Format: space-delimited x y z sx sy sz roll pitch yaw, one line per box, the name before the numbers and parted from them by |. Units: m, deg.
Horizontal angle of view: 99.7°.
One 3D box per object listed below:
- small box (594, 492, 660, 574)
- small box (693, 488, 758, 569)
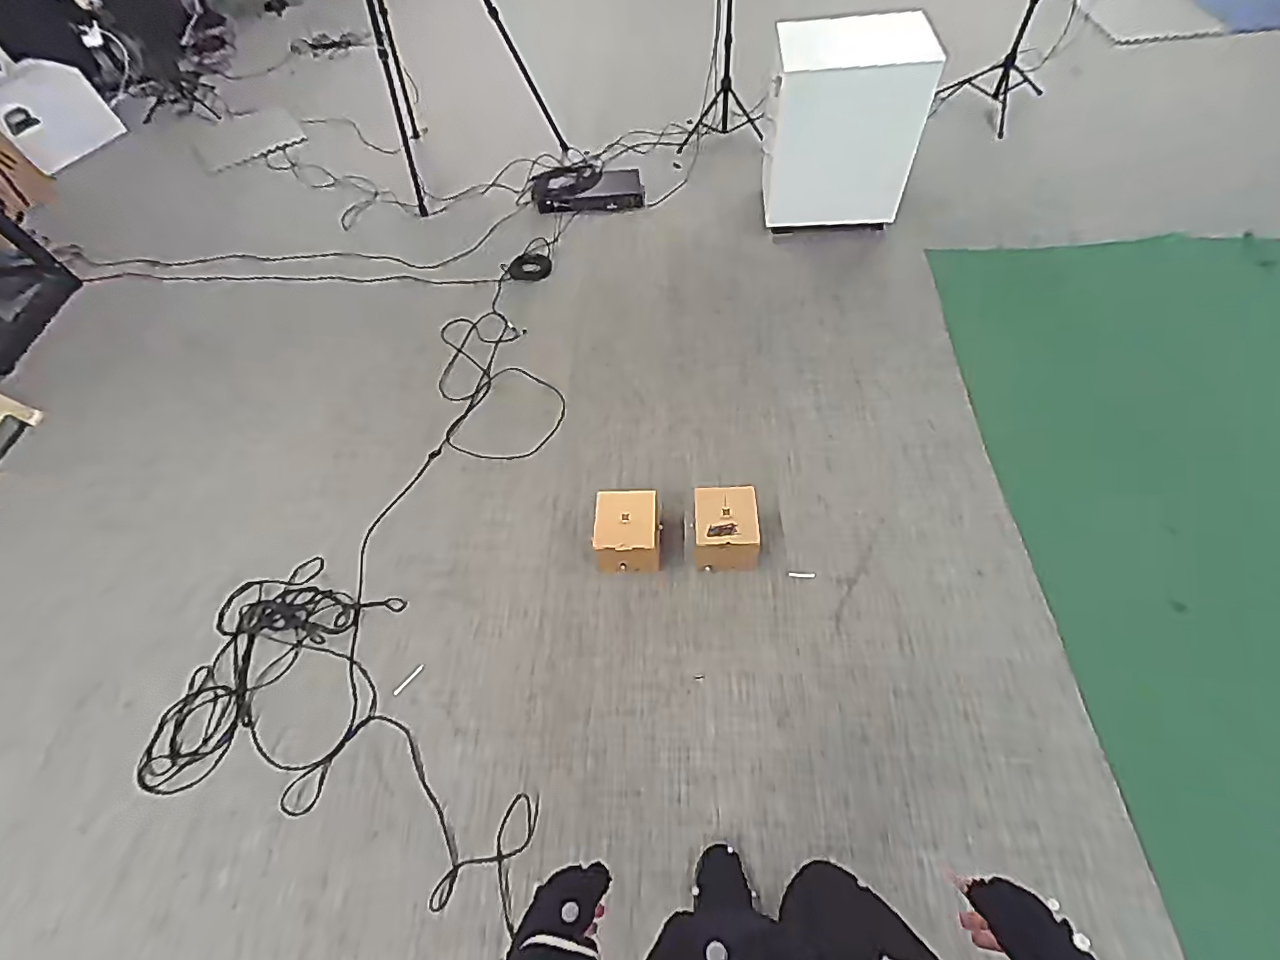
small box | -0.031 0.151 1.526 0.168 0.176 0.179 -1 58 6
small box | 0.233 0.140 1.501 0.168 0.176 0.179 -2 57 5
